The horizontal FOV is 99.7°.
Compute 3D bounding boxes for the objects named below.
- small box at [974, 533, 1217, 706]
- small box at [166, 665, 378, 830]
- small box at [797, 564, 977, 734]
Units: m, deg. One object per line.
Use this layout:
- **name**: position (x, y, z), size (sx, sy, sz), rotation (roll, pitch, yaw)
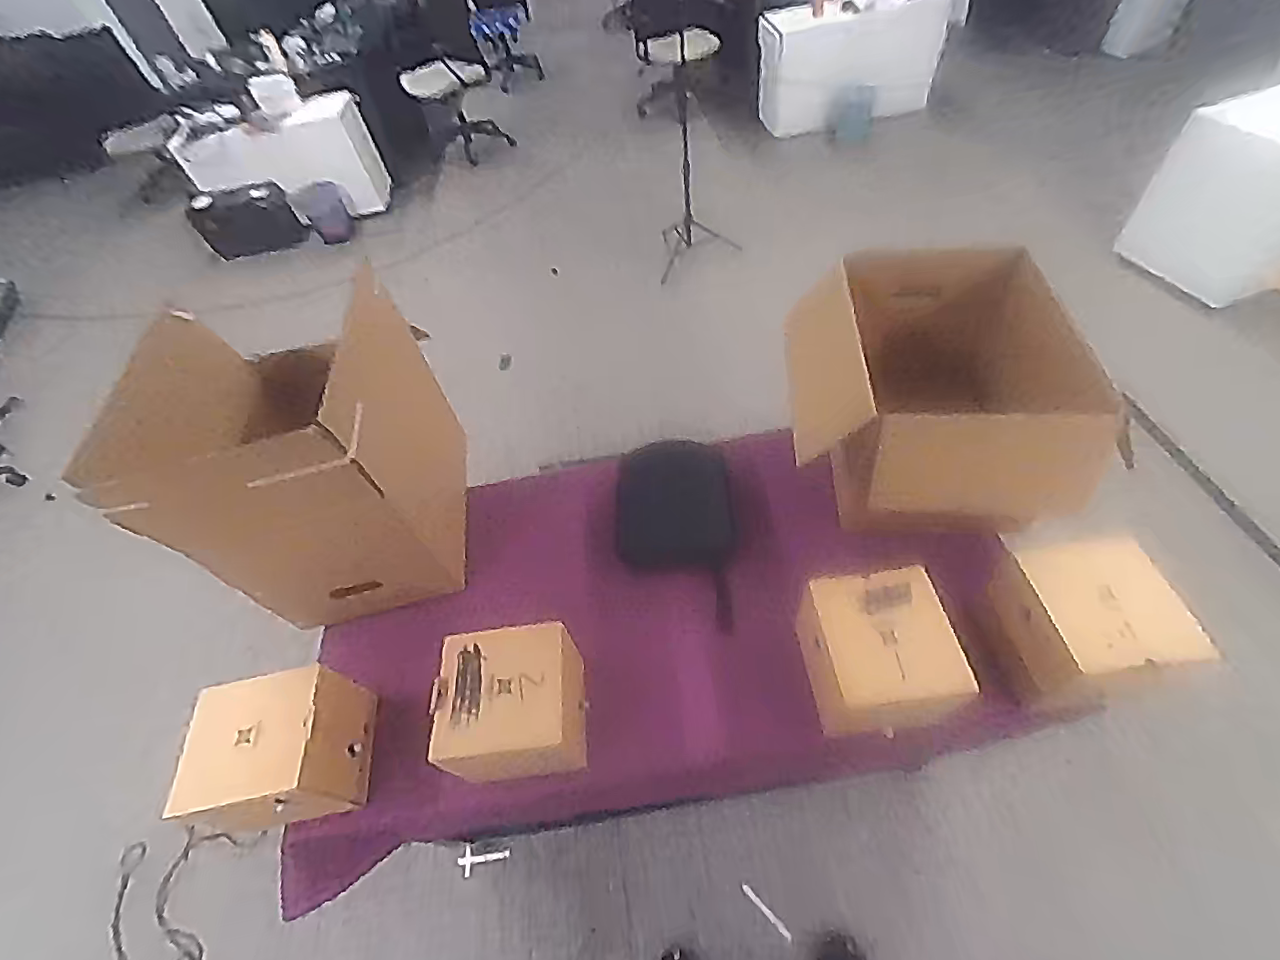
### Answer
- **small box**: position (0.614, 0.200, 0.764), size (0.168, 0.176, 0.179), rotation (-9, 52, 3)
- **small box**: position (-0.518, 0.397, 0.793), size (0.179, 0.176, 0.168), rotation (-12, 52, -2)
- **small box**: position (0.333, 0.245, 0.776), size (0.168, 0.176, 0.179), rotation (-9, 53, 3)
